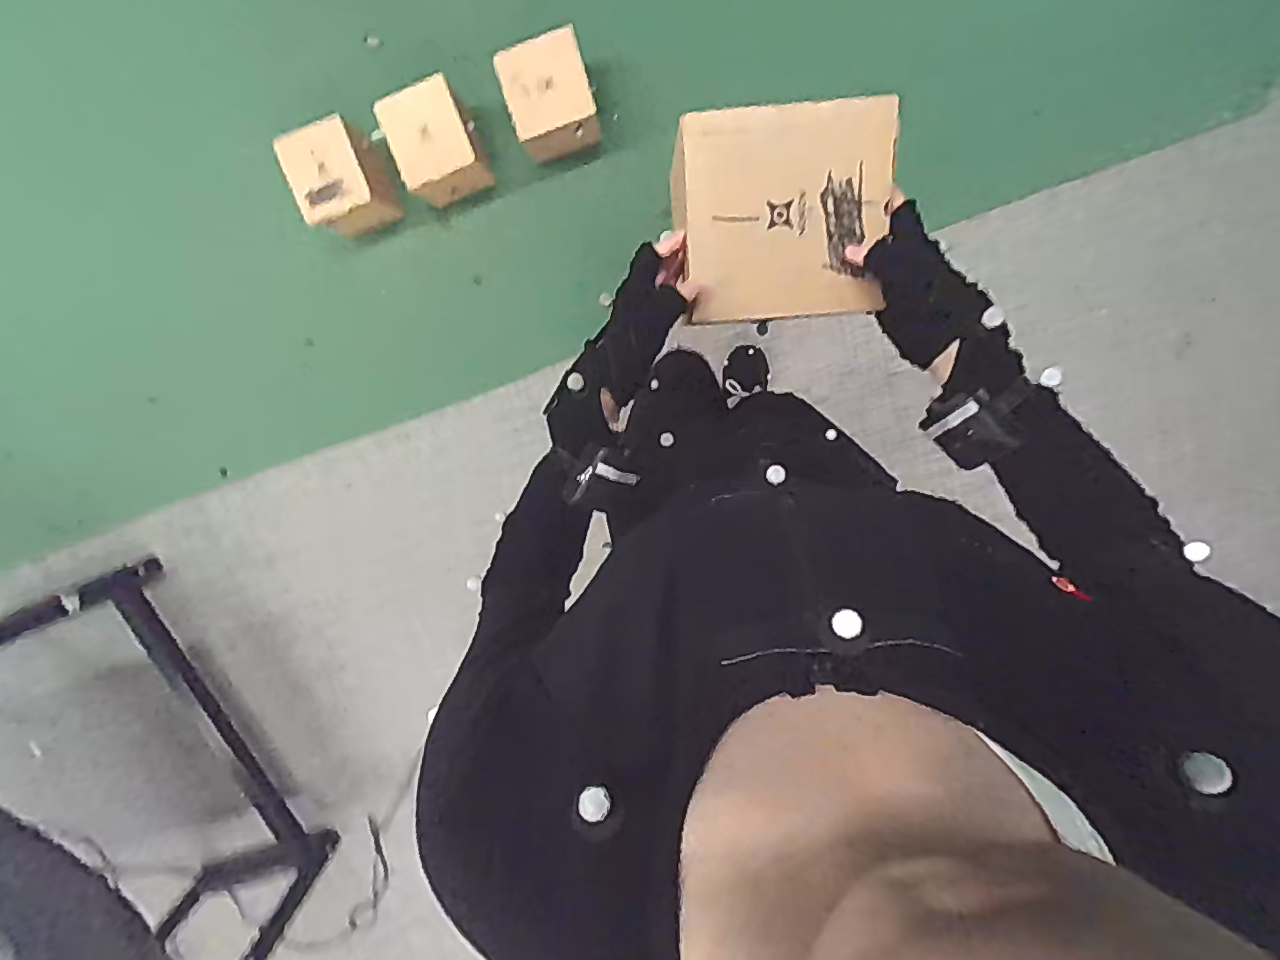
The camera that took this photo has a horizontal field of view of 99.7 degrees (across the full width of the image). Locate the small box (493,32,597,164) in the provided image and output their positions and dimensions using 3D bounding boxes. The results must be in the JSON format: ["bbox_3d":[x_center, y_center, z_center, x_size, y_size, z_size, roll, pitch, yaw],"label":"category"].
[{"bbox_3d":[-0.200,-0.836,1.202,0.179,0.176,0.168,-16,104,5],"label":"small box"}]

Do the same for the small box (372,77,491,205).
[{"bbox_3d":[-0.463,-0.759,1.231,0.168,0.176,0.179,-19,105,6],"label":"small box"}]

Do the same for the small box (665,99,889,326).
[{"bbox_3d":[0.120,-0.244,0.534,0.179,0.176,0.168,-5,104,1],"label":"small box"}]
